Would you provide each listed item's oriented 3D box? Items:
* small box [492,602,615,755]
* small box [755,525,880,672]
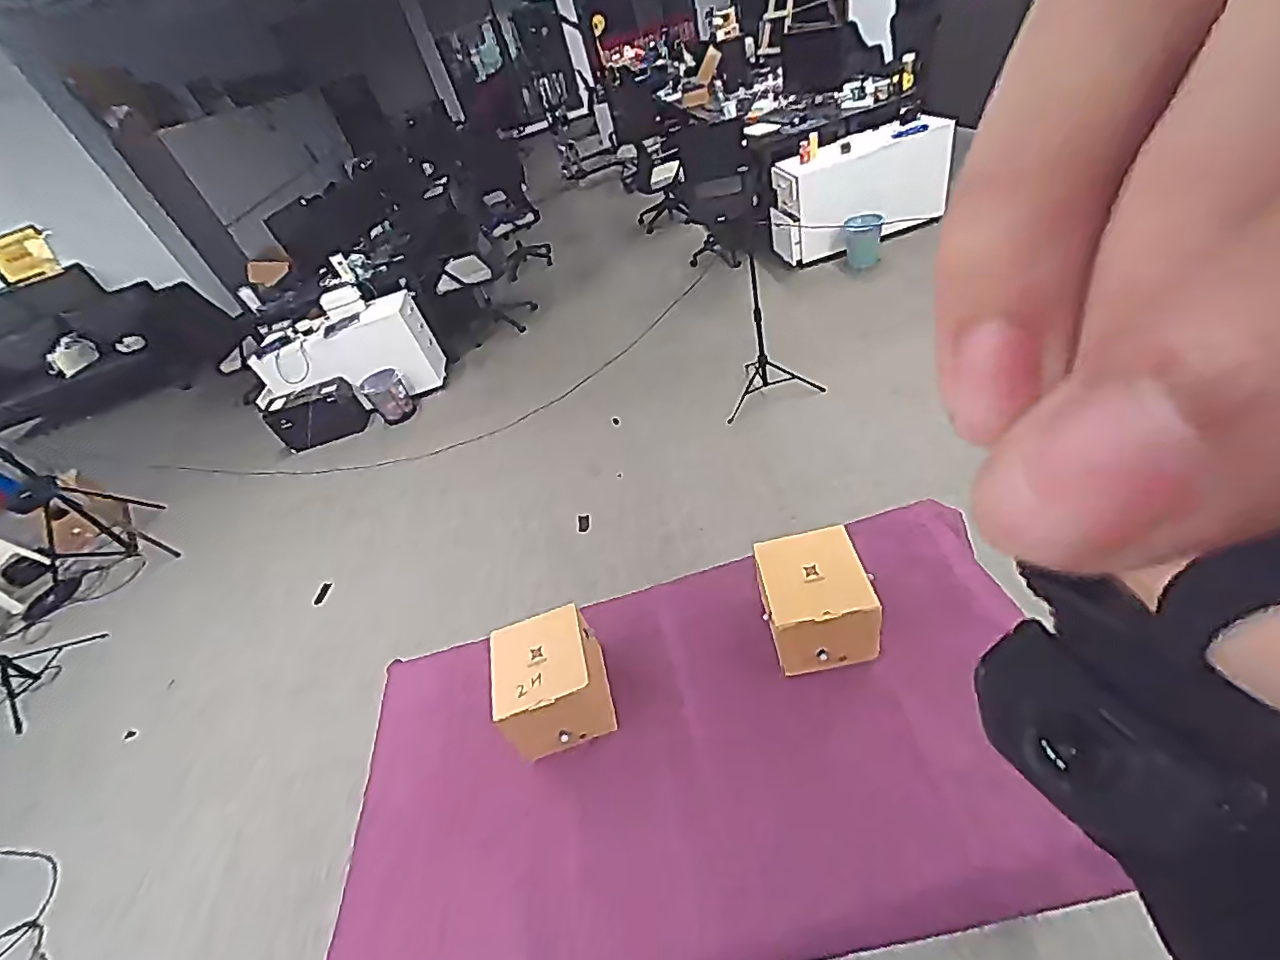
[{"bbox_3d":[-0.156,0.359,0.977,0.168,0.176,0.179,-20,41,0],"label":"small box"},{"bbox_3d":[0.309,0.212,0.962,0.168,0.176,0.179,-14,42,7],"label":"small box"}]
